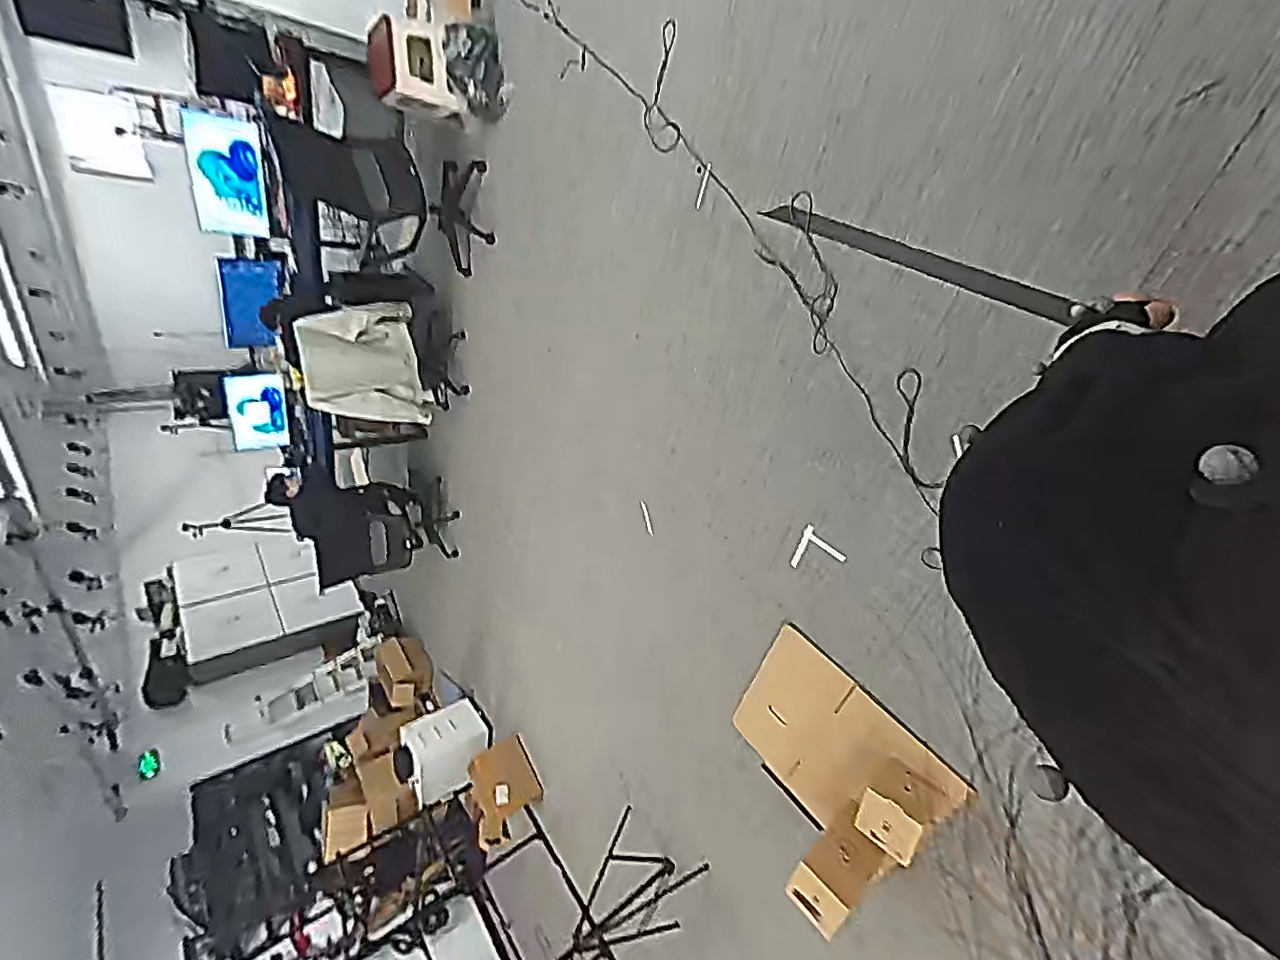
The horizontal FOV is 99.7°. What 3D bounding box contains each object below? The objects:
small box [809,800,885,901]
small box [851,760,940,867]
[{"bbox_3d":[0.688,1.205,1.768,0.168,0.176,0.179,32,123,40],"label":"small box"},{"bbox_3d":[0.765,0.984,1.611,0.168,0.176,0.179,28,120,42],"label":"small box"}]
